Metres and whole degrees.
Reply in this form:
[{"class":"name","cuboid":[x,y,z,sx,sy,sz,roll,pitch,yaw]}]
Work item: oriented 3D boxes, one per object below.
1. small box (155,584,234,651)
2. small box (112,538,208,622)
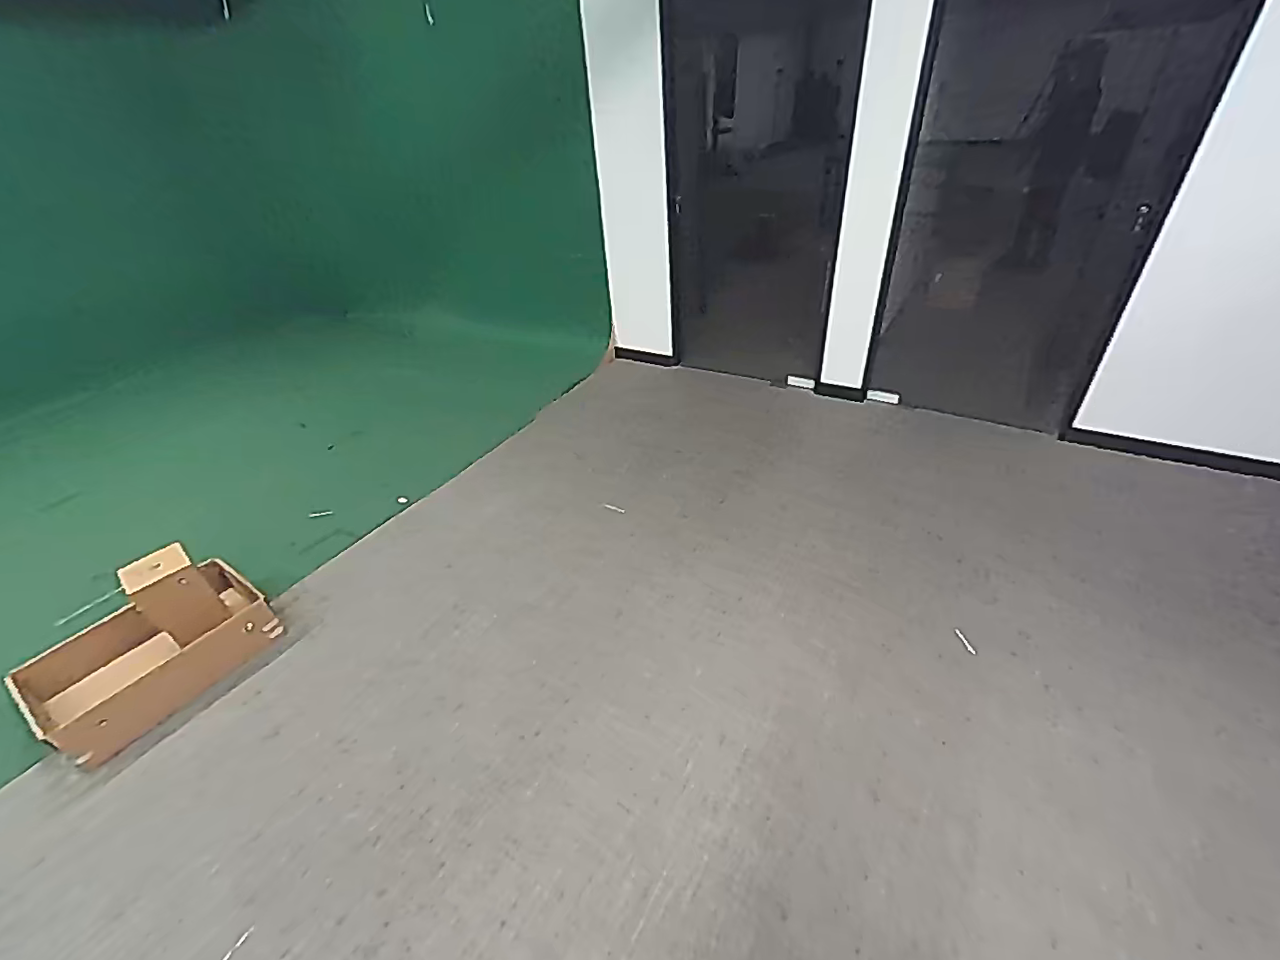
[{"class":"small box","cuboid":[-1.565,0.460,1.881,0.179,0.176,0.168,27,46,32]},{"class":"small box","cuboid":[-1.569,0.329,1.781,0.168,0.176,0.179,26,46,34]}]
